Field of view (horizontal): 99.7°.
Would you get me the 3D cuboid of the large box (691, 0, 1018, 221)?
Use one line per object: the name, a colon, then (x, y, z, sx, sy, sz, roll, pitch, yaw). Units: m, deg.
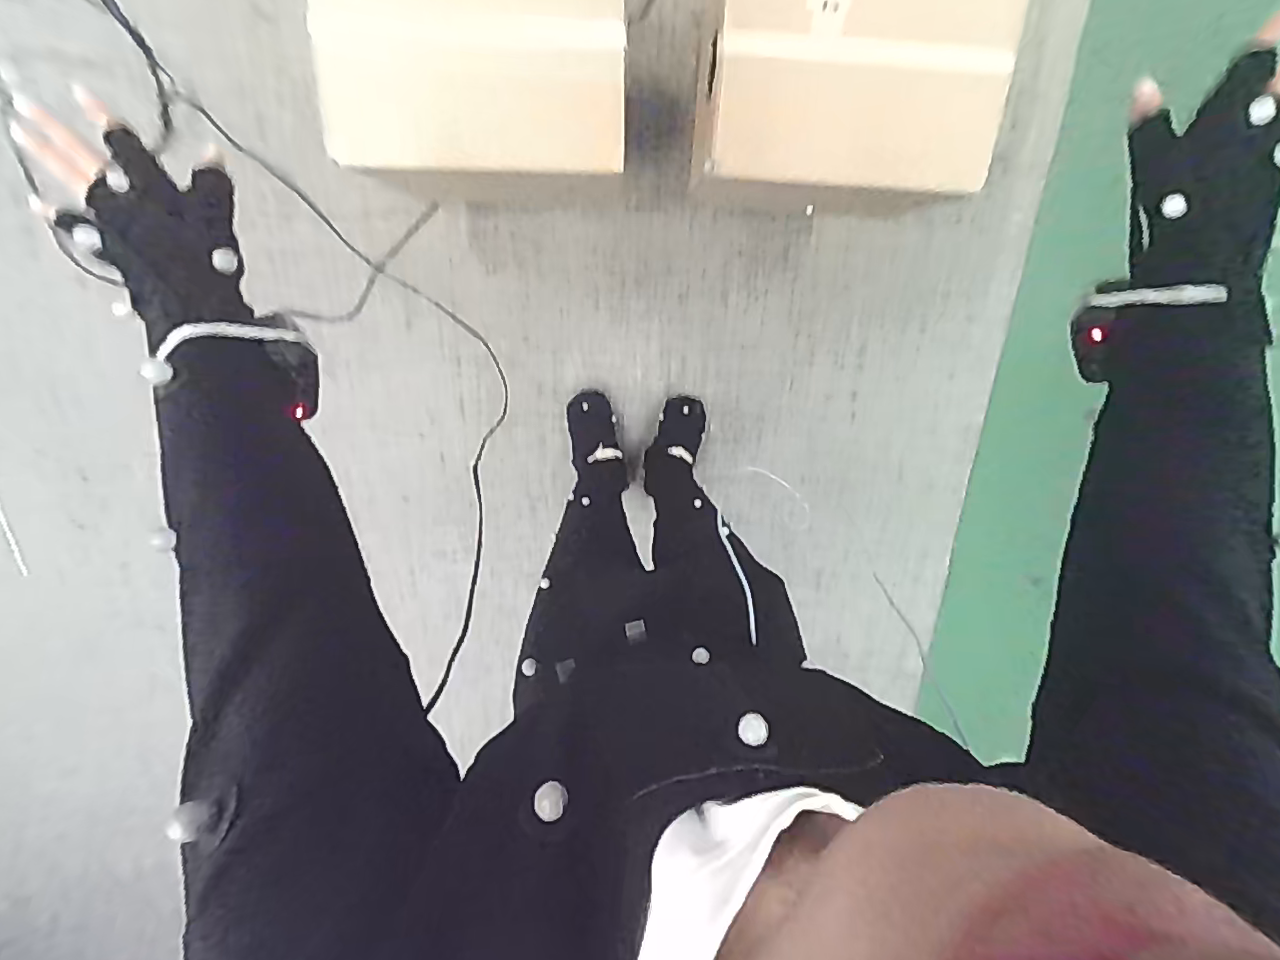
large box: (0.310, -0.623, 0.900, 0.408, 0.320, 0.320, 3, 108, -2)
